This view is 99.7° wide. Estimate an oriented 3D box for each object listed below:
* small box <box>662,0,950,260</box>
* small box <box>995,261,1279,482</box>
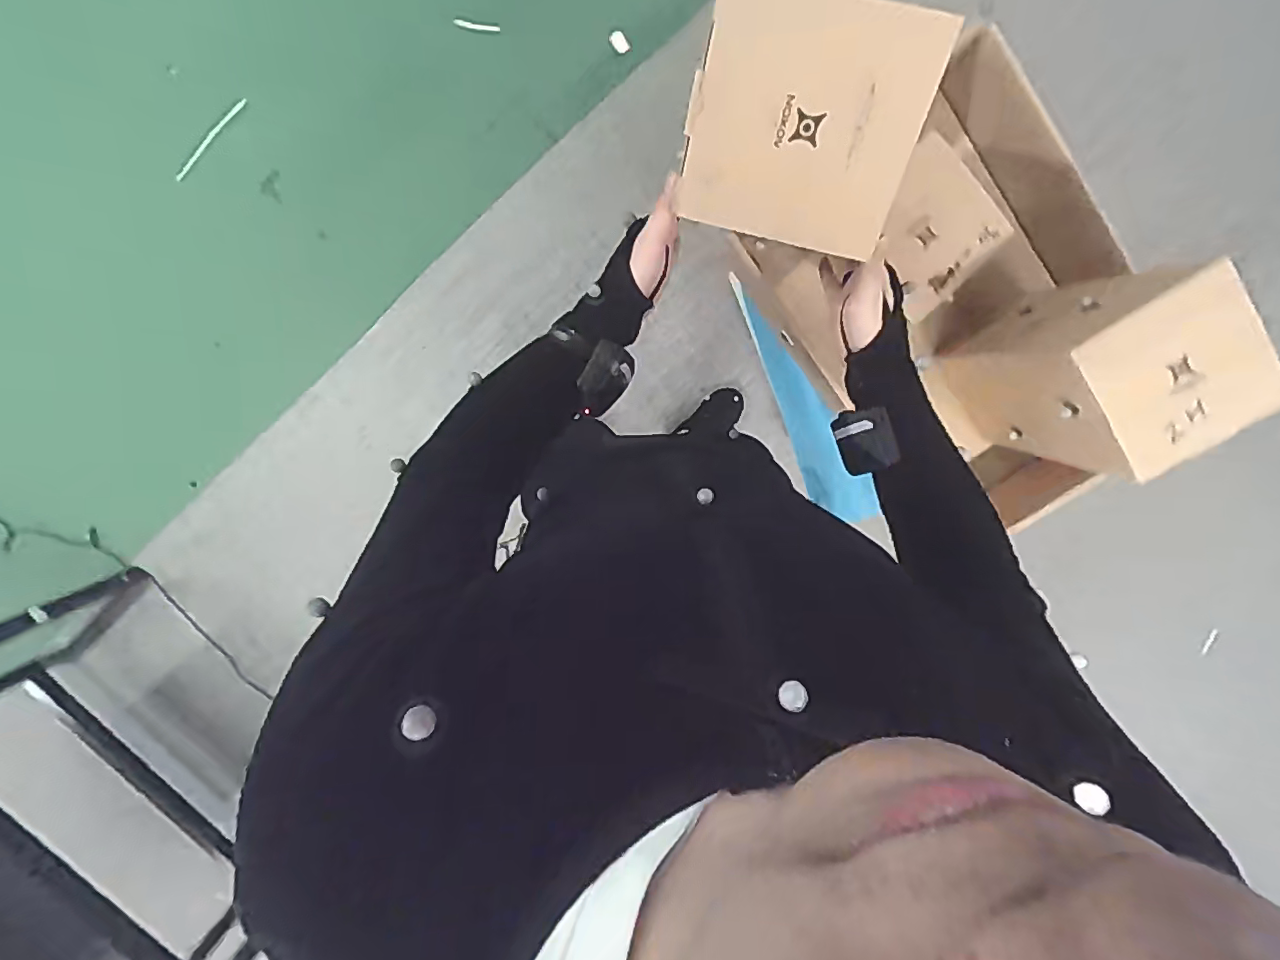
[{"bbox_3d":[0.131,-0.312,0.489,0.179,0.176,0.168,15,121,3],"label":"small box"},{"bbox_3d":[0.572,-0.125,0.643,0.168,0.176,0.179,-33,99,11],"label":"small box"}]
